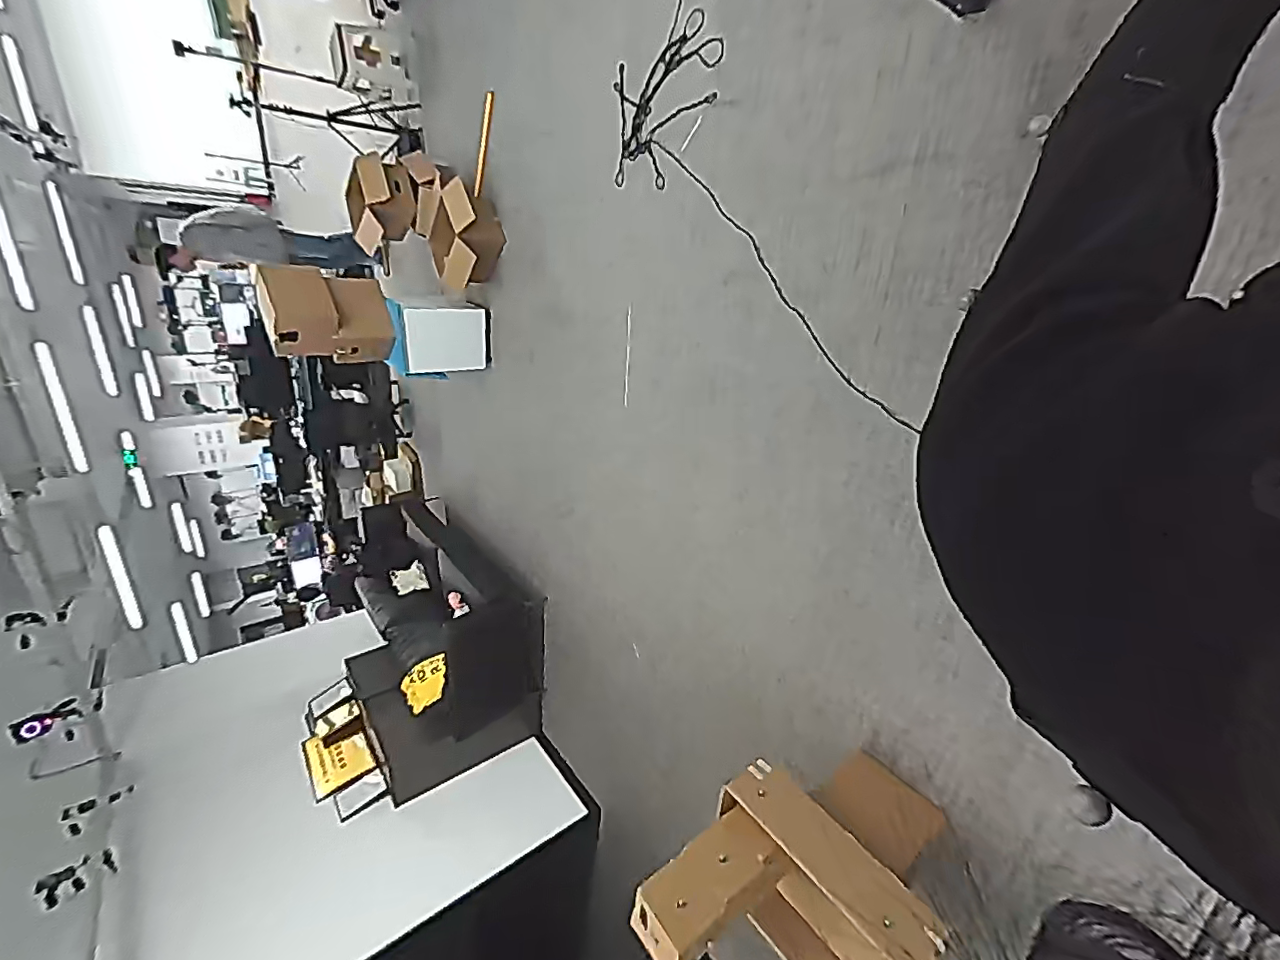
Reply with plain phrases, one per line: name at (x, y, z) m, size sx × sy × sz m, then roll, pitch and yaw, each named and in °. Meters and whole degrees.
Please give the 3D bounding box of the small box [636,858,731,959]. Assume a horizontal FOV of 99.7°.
small box at (0.115, 1.165, 1.452) m, size 0.179 × 0.176 × 0.168 m, roll 34°, pitch 126°, yaw 43°
